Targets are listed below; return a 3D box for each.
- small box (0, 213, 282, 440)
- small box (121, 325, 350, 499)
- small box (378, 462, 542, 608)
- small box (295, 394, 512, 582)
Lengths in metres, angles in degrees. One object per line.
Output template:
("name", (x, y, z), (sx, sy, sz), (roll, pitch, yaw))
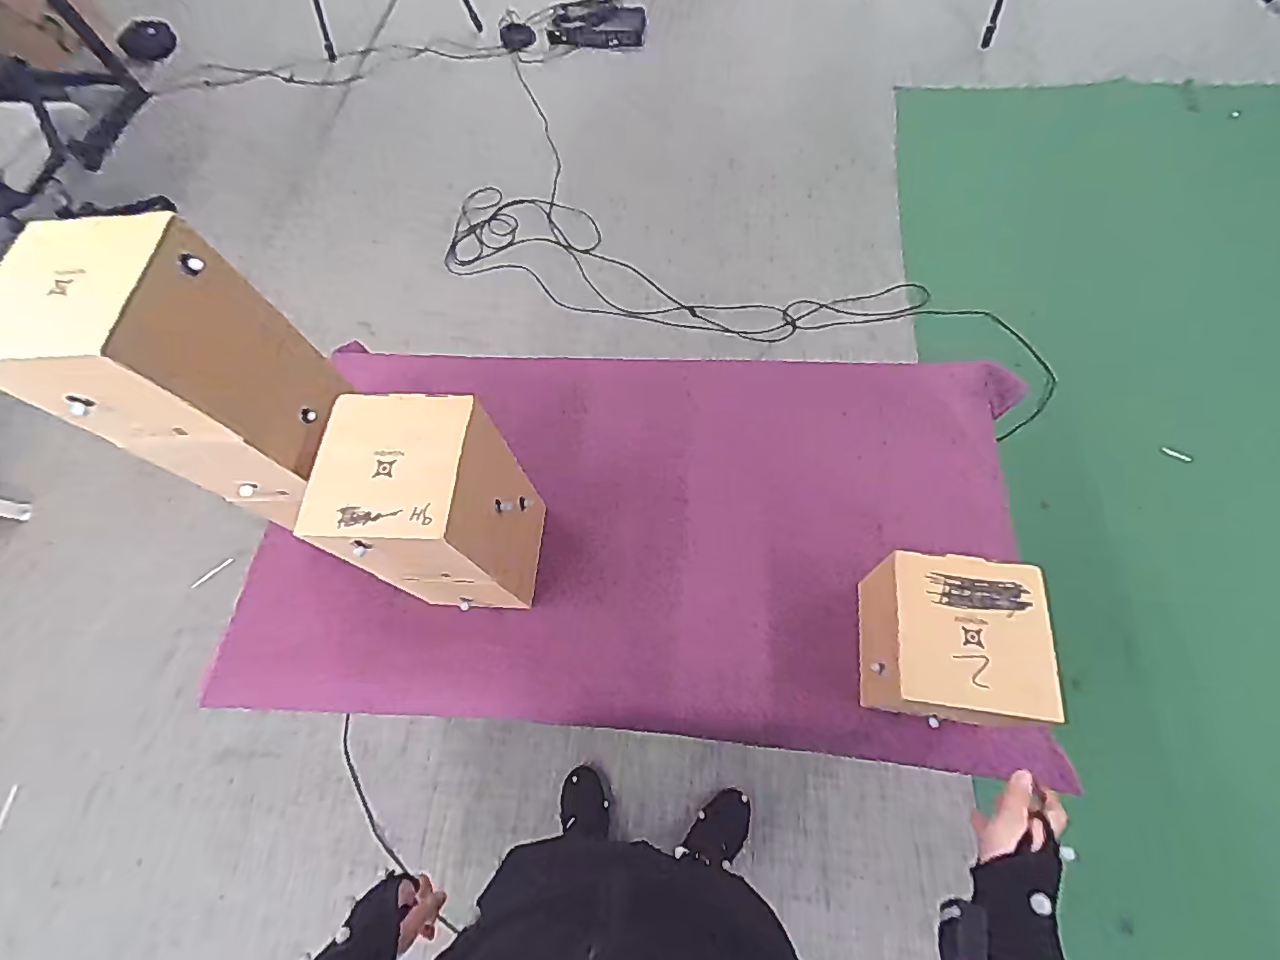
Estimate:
("small box", (-0.533, -0.151, 0.584), (0.168, 0.176, 0.179), (-1, 65, 6))
("small box", (-0.518, -0.086, 0.731), (0.168, 0.176, 0.179), (0, 67, 6))
("small box", (-0.253, 0.084, 0.809), (0.168, 0.176, 0.179), (1, 66, 6))
("small box", (-0.267, 0.014, 0.660), (0.168, 0.176, 0.179), (1, 65, 6))
